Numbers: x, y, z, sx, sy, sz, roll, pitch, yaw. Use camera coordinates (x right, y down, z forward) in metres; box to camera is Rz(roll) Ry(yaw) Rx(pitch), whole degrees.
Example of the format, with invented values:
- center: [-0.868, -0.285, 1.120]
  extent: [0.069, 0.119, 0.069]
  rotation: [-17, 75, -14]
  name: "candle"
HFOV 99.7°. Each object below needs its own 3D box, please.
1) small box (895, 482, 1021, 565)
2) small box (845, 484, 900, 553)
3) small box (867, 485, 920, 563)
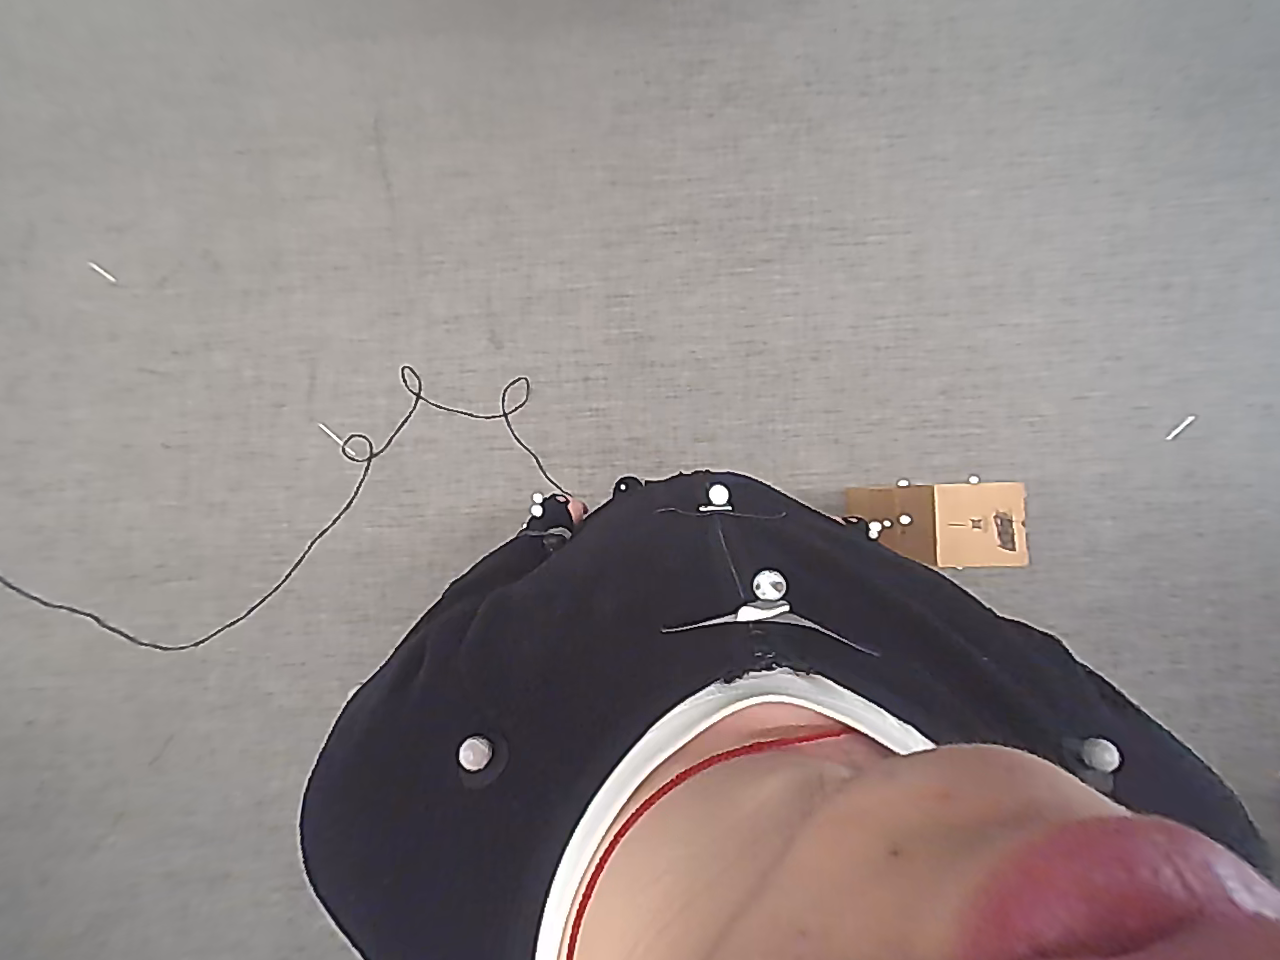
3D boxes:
- center: [0.667, 0.088, 1.148]
  extent: [0.179, 0.176, 0.168]
  rotation: [-1, 89, 3]
  name: "small box"
- center: [0.670, 0.101, 1.475]
  extent: [0.168, 0.176, 0.179]
  rotation: [-1, 90, 1]
  name: "small box"
- center: [0.665, 0.099, 1.314]
  extent: [0.168, 0.176, 0.179]
  rotation: [-3, 92, 2]
  name: "small box"
